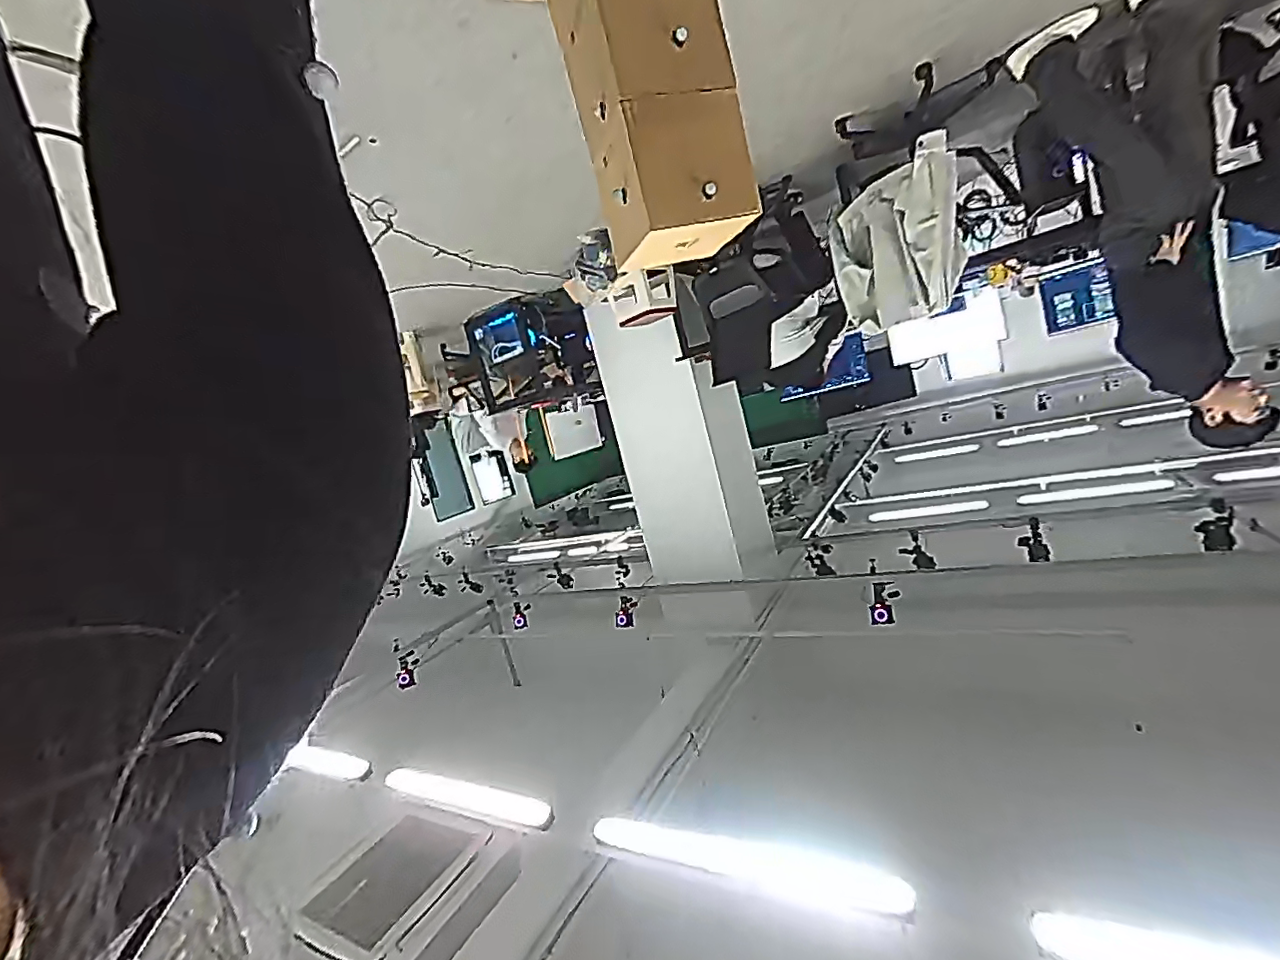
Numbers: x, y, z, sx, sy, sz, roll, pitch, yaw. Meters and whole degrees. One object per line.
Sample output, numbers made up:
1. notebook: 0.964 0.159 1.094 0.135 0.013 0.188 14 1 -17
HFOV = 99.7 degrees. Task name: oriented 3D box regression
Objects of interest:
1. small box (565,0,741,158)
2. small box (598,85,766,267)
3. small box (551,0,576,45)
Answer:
1. small box: 0.012 -0.593 0.765 0.179 0.176 0.168 -18 -173 -16
2. small box: 0.051 -0.436 0.789 0.179 0.176 0.168 -18 -173 -16
3. small box: -0.034 -0.749 0.744 0.179 0.176 0.168 -17 -173 -16
